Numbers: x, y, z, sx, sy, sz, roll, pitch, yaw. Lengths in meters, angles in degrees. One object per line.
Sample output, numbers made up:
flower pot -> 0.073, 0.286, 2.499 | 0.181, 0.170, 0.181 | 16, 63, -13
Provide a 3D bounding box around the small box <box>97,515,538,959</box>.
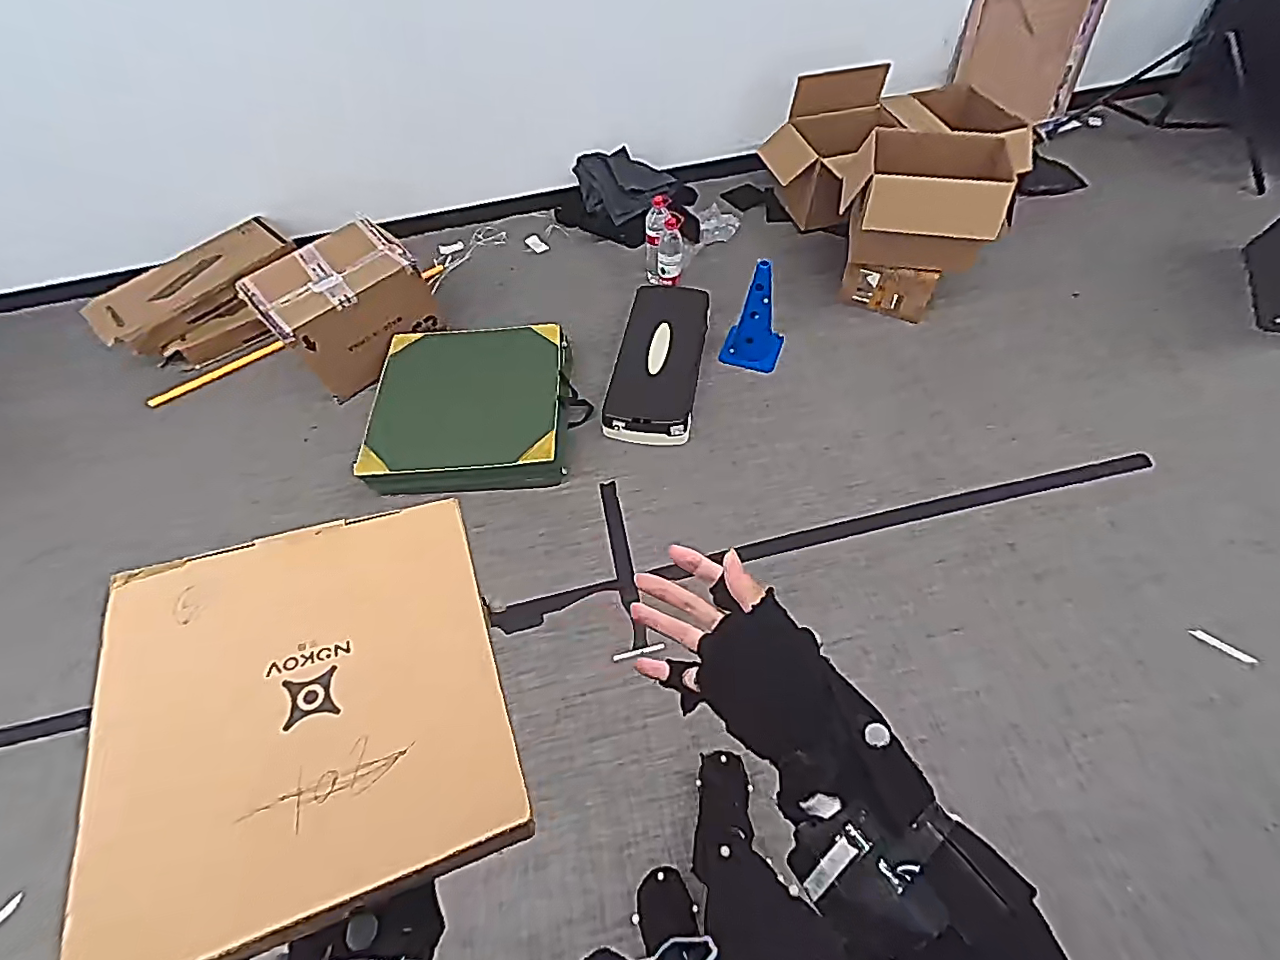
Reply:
small box -> -0.164, 0.151, 0.330 | 0.168, 0.176, 0.179 | -13, 58, -18
